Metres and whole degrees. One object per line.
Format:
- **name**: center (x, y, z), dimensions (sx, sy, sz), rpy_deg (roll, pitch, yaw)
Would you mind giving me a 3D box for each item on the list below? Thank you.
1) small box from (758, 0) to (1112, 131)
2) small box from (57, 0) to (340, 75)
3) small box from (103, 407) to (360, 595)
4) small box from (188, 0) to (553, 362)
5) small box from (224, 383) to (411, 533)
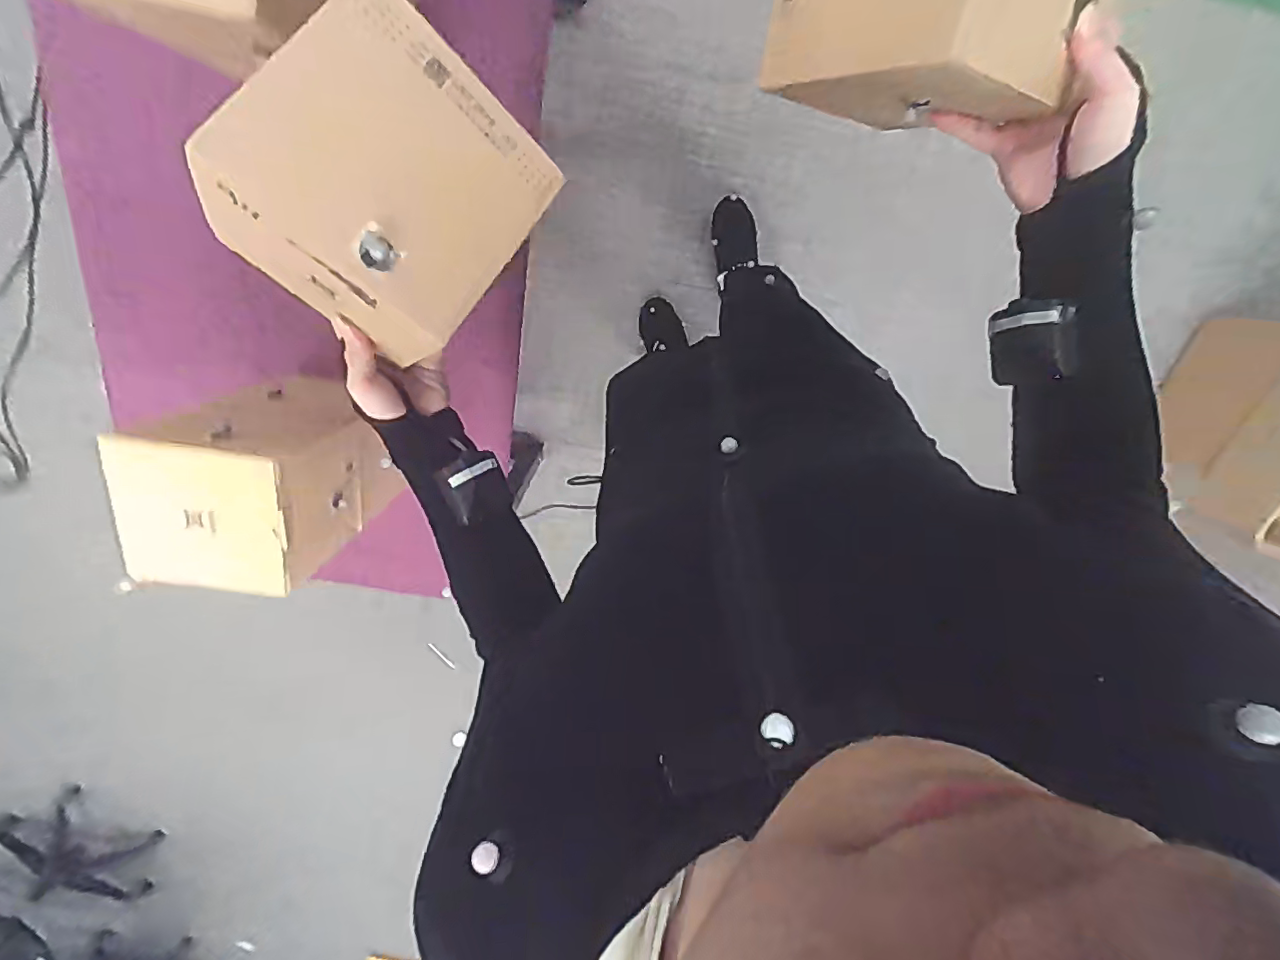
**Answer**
- **small box**: center (0.218, -0.366, 0.392), dimensions (0.179, 0.176, 0.168), rpy_deg (-8, 119, -30)
- **small box**: center (-0.368, -0.466, 0.463), dimensions (0.179, 0.176, 0.168), rpy_deg (9, 110, -3)
- **small box**: center (-0.465, 0.015, 0.648), dimensions (0.179, 0.176, 0.168), rpy_deg (7, 110, -3)
- **small box**: center (-0.197, -0.216, 0.425), dimensions (0.168, 0.179, 0.176), rpy_deg (40, 74, -29)
- **small box**: center (-0.462, -0.041, 0.800), dimensions (0.179, 0.176, 0.168), rpy_deg (9, 111, -3)
